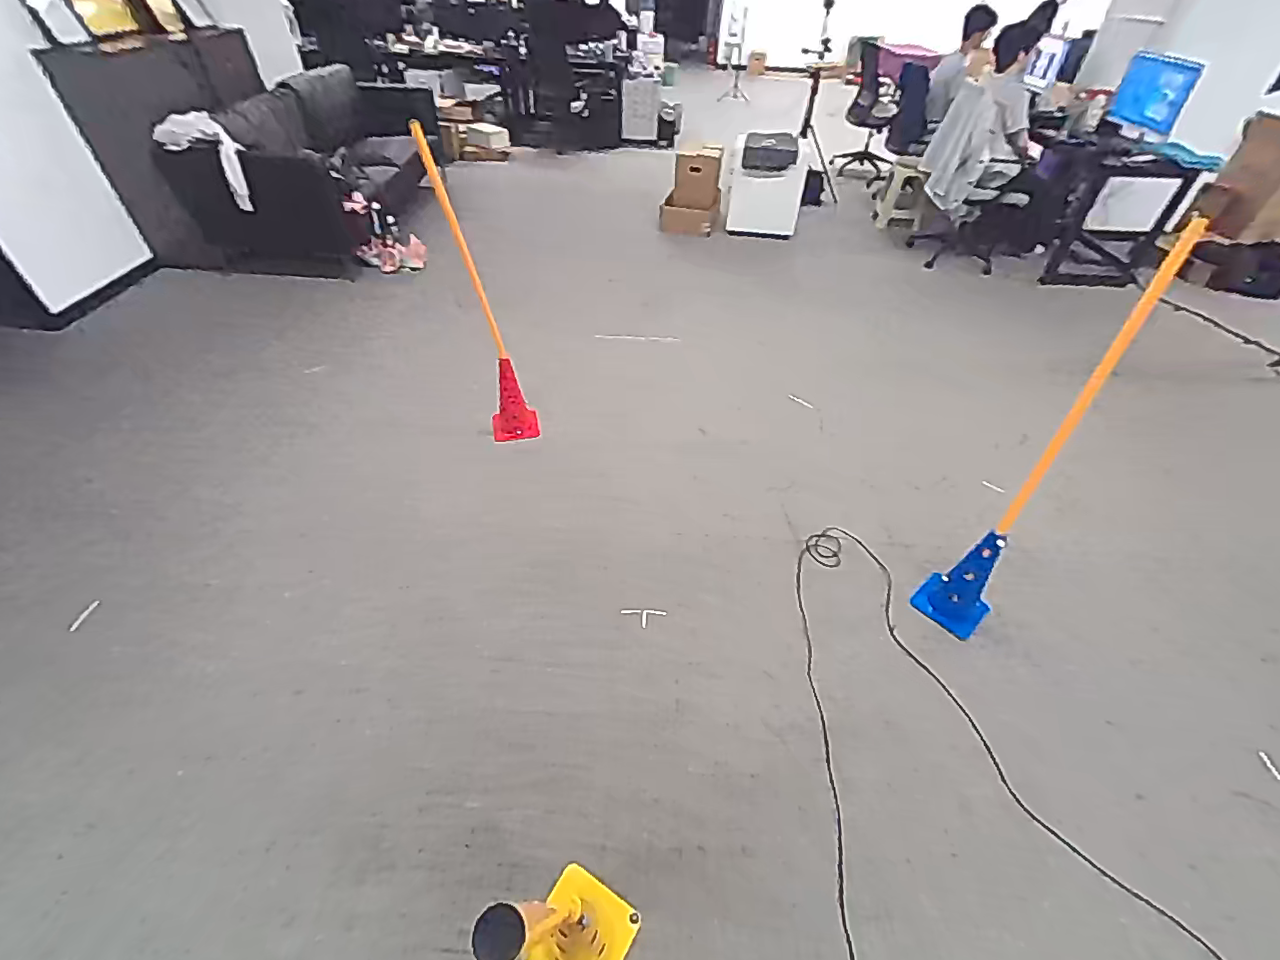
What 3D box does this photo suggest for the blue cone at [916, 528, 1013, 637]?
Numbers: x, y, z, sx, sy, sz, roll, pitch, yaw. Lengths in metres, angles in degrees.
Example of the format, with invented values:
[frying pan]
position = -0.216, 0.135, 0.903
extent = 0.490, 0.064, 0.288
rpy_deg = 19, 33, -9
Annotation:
[blue cone]
position = 1.035, 0.286, 1.677
extent = 0.193, 0.380, 0.192
rpy_deg = -30, 51, -33
